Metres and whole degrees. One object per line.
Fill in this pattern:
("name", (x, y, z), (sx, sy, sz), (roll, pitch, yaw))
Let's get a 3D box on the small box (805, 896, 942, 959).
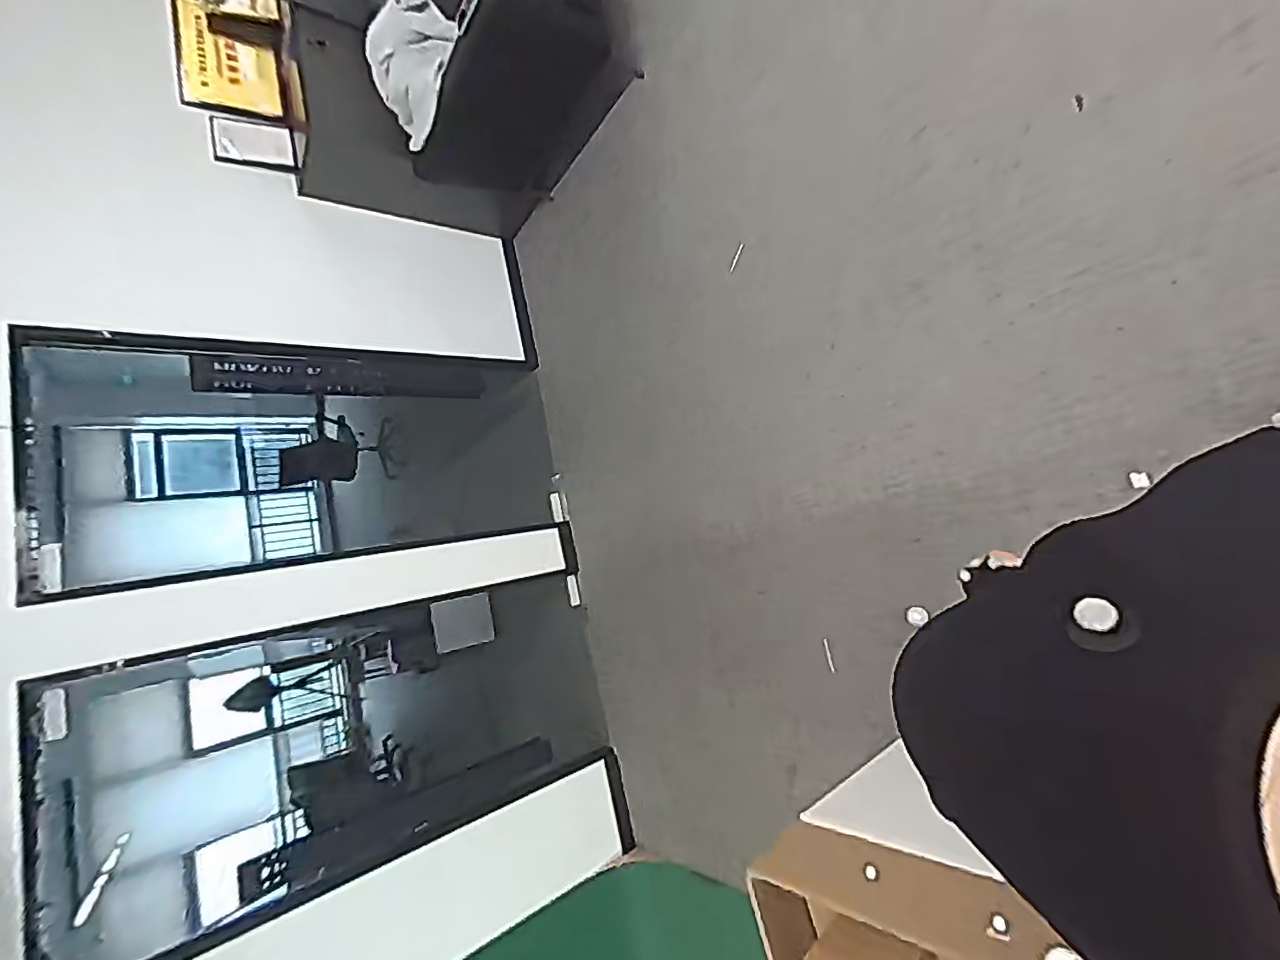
("small box", (0.421, 0.886, 0.937), (0.168, 0.176, 0.179), (-19, 87, 48))
